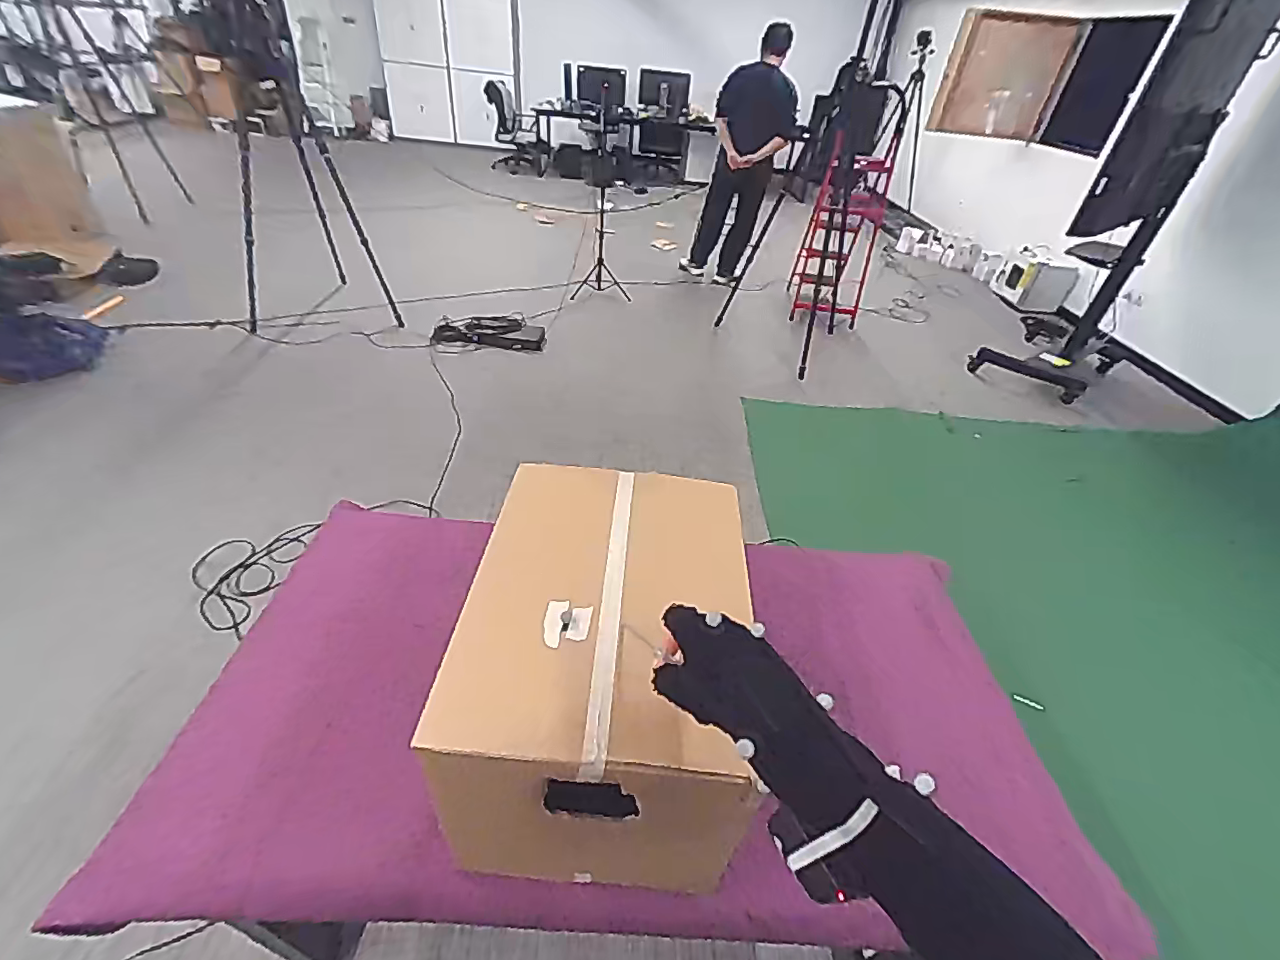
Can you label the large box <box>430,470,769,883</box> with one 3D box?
[{"bbox_3d":[-0.043,0.241,0.722,0.320,0.320,0.408,7,39,-1],"label":"large box"}]
